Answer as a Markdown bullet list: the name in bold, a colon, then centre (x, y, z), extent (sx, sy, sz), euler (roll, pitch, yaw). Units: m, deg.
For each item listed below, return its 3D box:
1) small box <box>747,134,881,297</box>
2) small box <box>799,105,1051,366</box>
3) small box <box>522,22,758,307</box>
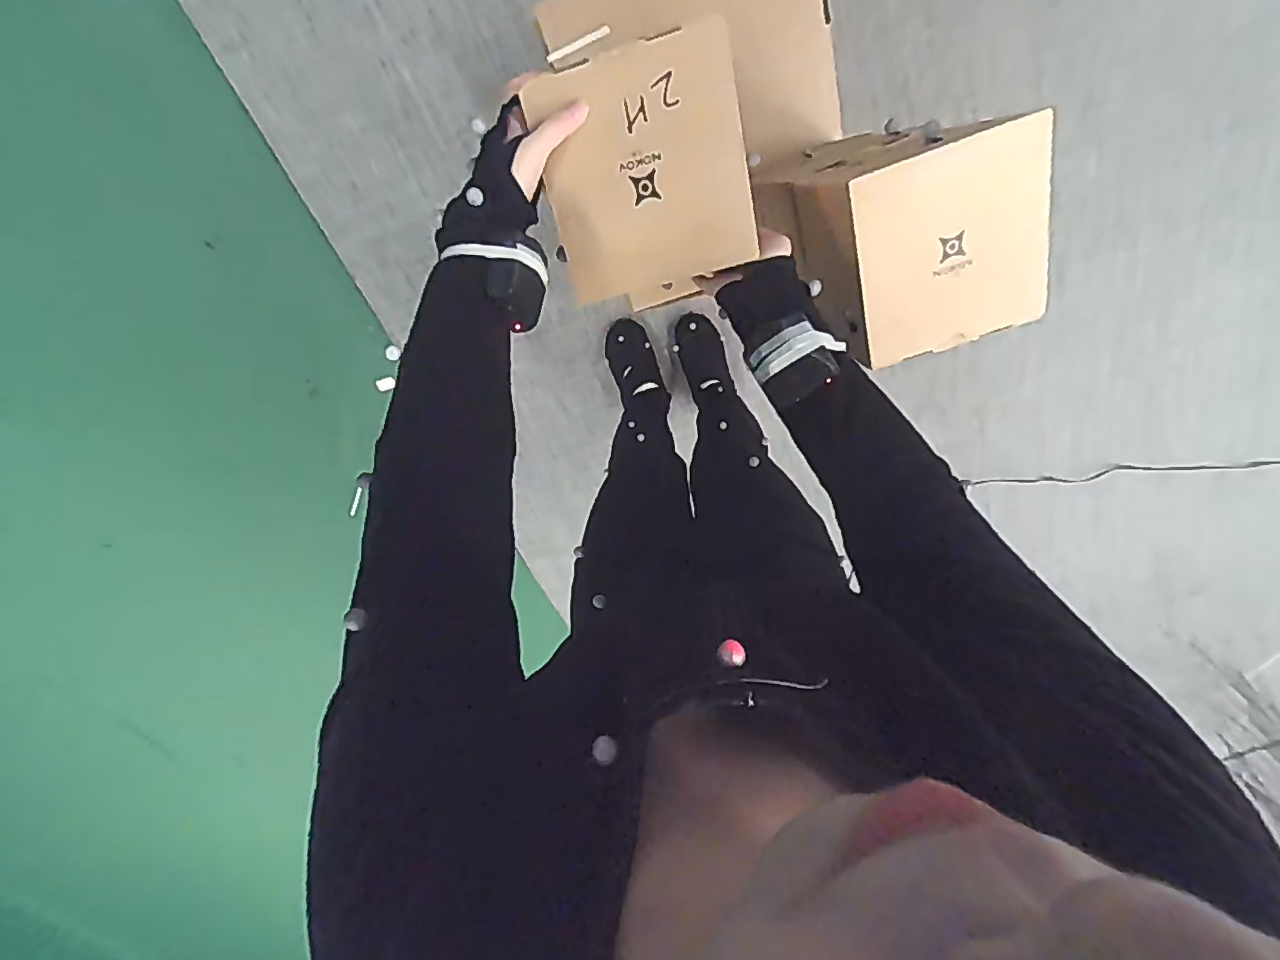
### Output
- **small box**: centre (0.261, -0.406, 0.833), extent (0.179, 0.176, 0.168), euler (-18, 117, 10)
- **small box**: centre (0.274, -0.243, 0.550), extent (0.168, 0.176, 0.179), euler (-17, 118, 8)
- **small box**: centre (0.011, -0.284, 0.516), extent (0.168, 0.176, 0.179), euler (-11, 116, 9)
